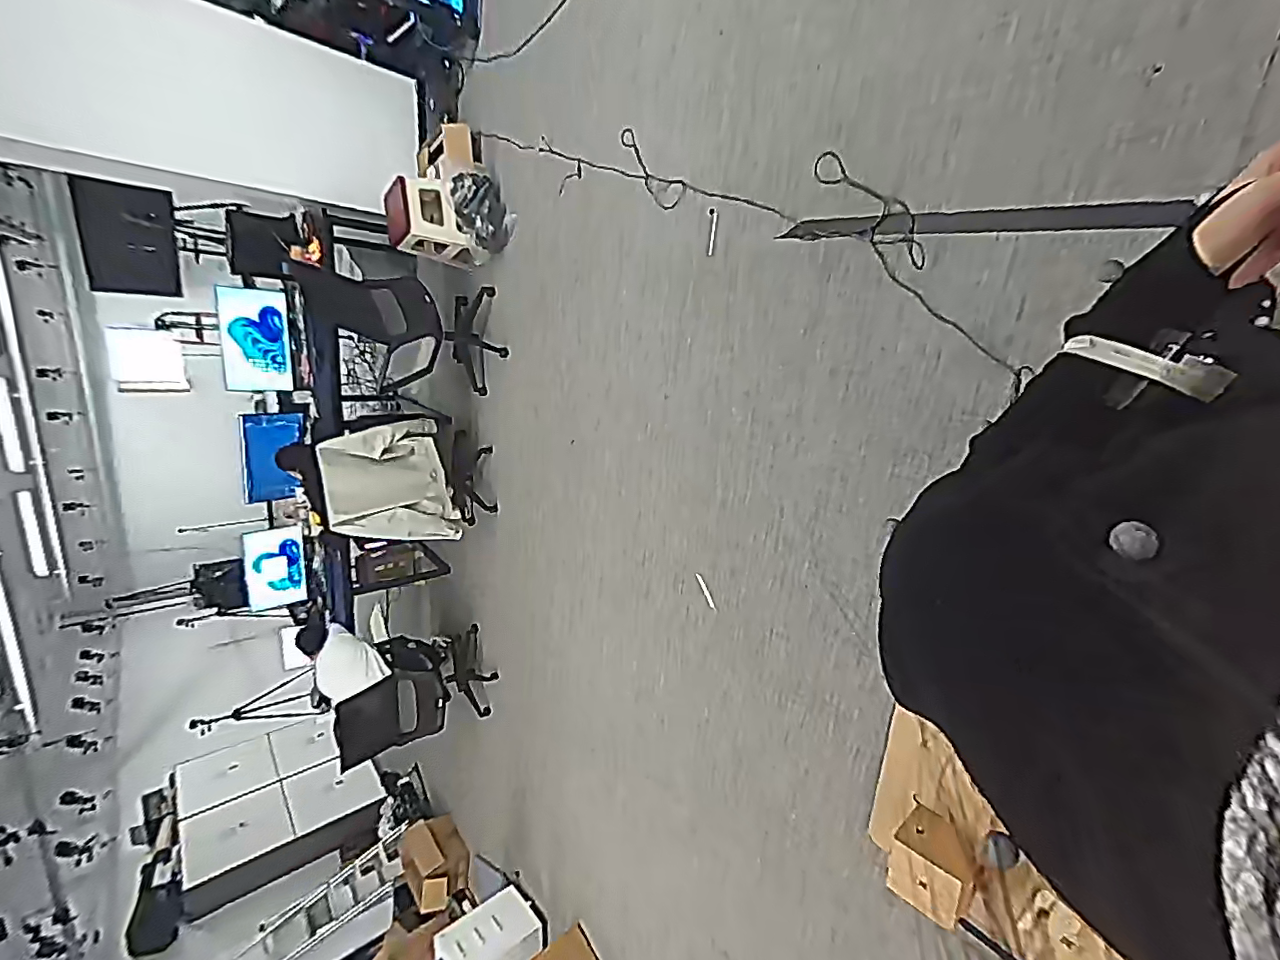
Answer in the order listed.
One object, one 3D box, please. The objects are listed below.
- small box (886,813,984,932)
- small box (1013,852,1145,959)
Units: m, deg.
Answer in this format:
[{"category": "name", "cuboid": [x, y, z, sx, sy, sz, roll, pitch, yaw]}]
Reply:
[{"category": "small box", "cuboid": [0.800, 1.049, 1.470, 0.179, 0.176, 0.168, 15, 109, 47]}, {"category": "small box", "cuboid": [1.000, 1.008, 1.229, 0.179, 0.176, 0.168, 31, 119, 40]}]
